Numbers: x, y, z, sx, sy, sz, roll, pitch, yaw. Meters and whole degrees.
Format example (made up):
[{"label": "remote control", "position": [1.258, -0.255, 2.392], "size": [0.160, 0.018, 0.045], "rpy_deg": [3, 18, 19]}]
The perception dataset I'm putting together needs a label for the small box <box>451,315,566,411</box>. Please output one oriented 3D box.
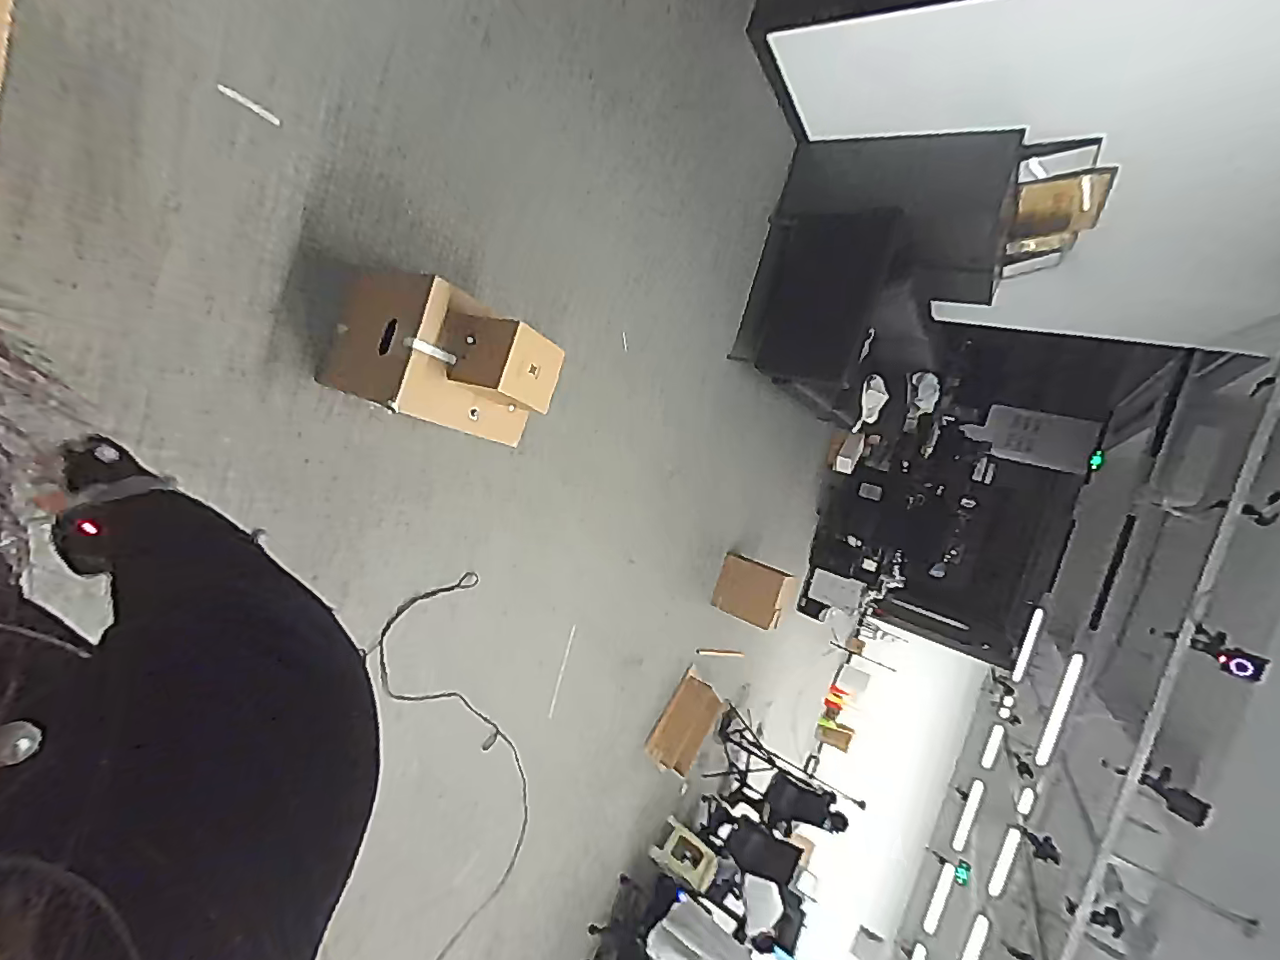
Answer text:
[{"label": "small box", "position": [-0.313, -0.282, 1.294], "size": [0.179, 0.176, 0.168], "rpy_deg": [24, 82, -59]}]
